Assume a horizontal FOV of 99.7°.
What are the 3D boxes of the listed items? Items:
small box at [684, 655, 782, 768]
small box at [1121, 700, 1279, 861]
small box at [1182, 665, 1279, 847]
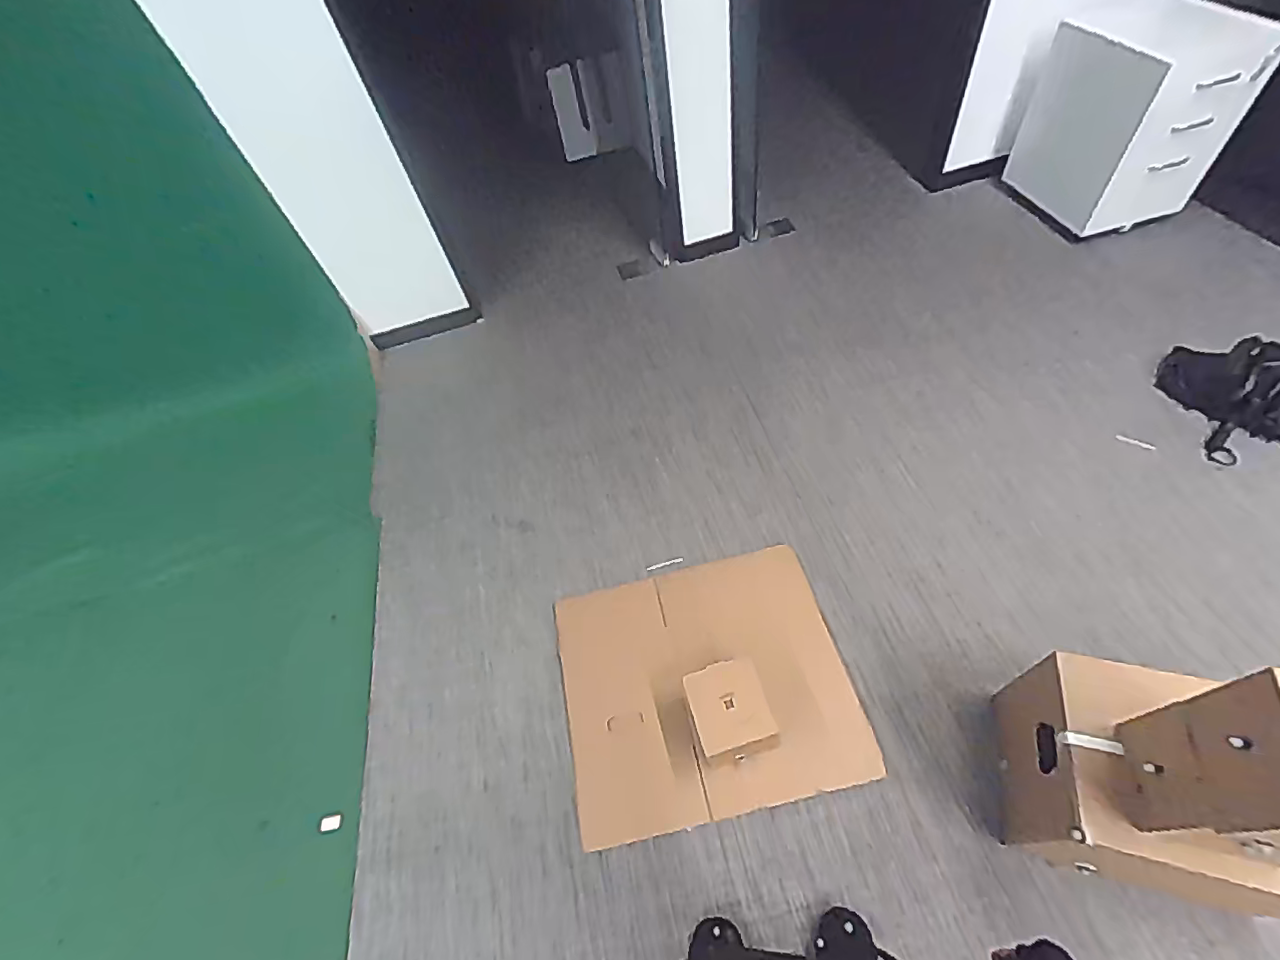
[{"bbox_3d":[0.210,0.529,1.227,0.168,0.176,0.179,-20,53,1],"label":"small box"},{"bbox_3d":[0.862,0.445,0.796,0.179,0.176,0.168,5,54,13],"label":"small box"},{"bbox_3d":[0.828,0.355,0.659,0.168,0.176,0.179,9,56,17],"label":"small box"}]
